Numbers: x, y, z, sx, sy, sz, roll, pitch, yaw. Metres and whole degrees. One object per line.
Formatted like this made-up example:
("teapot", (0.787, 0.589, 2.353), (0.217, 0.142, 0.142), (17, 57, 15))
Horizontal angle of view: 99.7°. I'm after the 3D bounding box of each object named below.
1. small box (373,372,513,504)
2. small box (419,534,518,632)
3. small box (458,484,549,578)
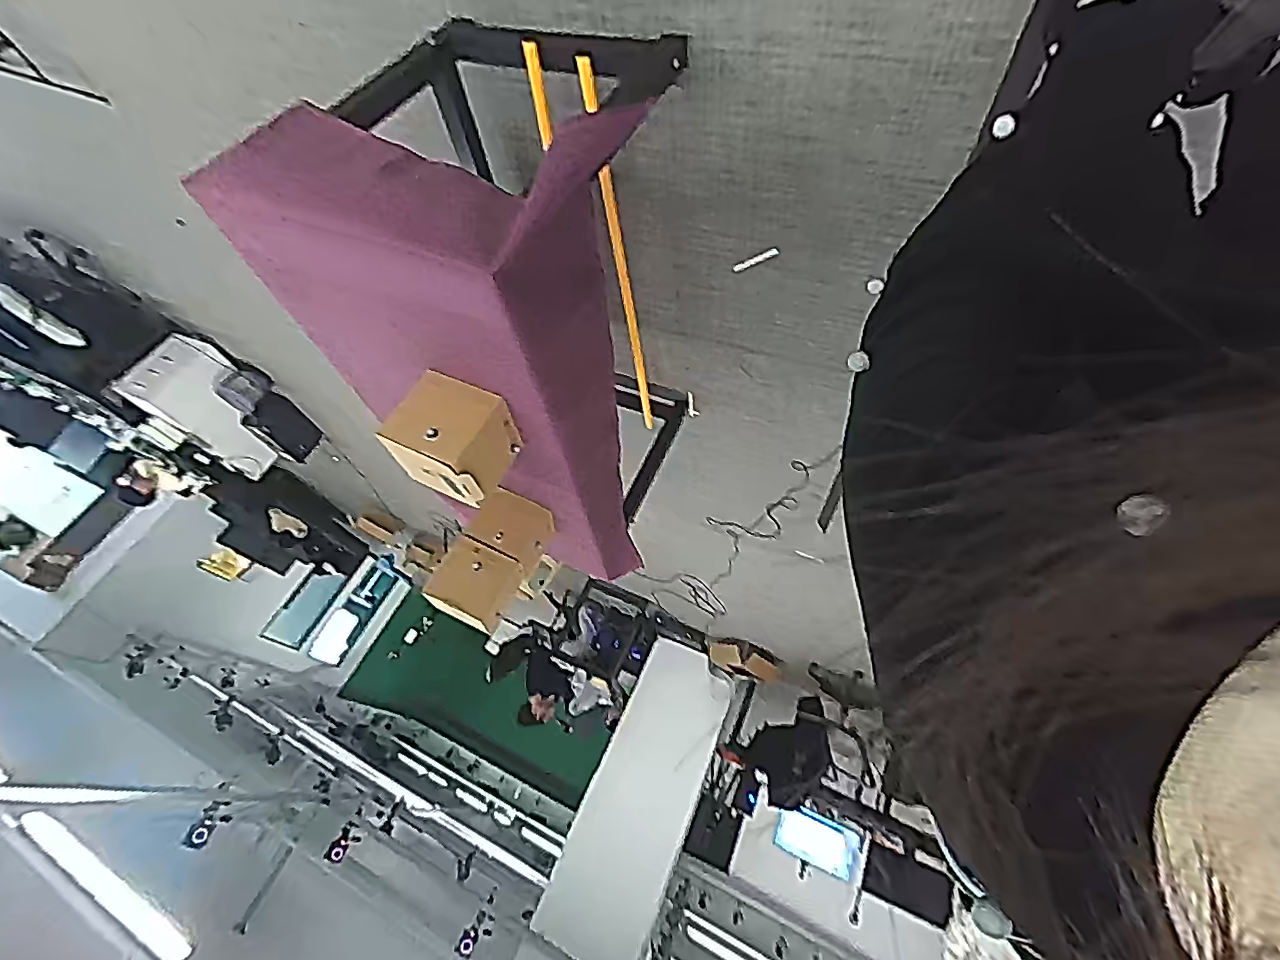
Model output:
("small box", (-0.366, -0.084, 1.052), (0.179, 0.176, 0.168), (22, 154, 14))
("small box", (-0.427, 0.265, 1.385), (0.168, 0.176, 0.179), (24, 153, 5))
("small box", (-0.357, 0.137, 1.461), (0.179, 0.176, 0.168), (25, 154, 7))
